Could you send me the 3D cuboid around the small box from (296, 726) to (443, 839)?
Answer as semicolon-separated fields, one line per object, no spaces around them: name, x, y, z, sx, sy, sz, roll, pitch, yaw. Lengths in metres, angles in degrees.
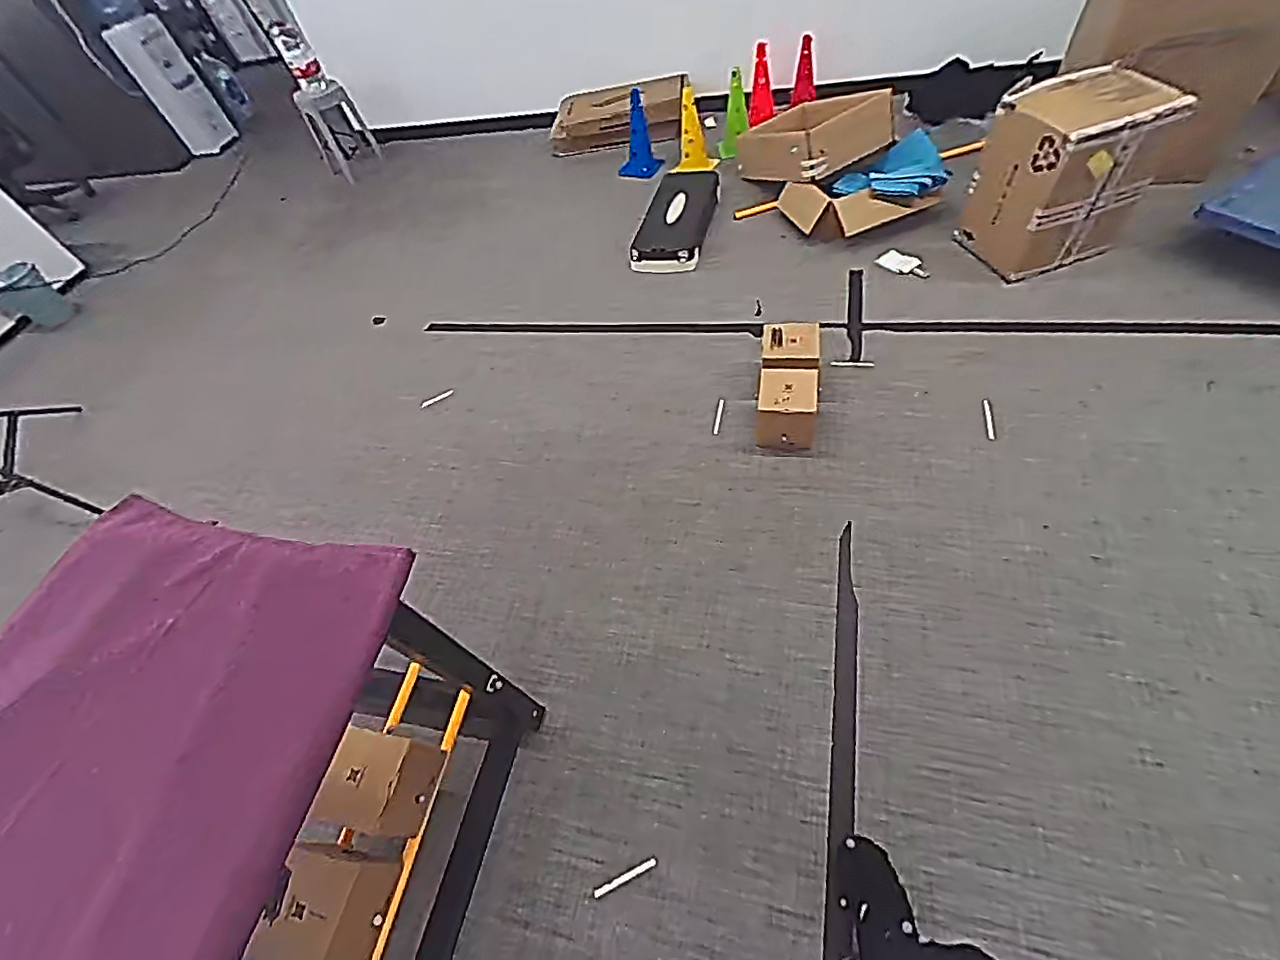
small box;-0.539;0.620;1.105;0.179;0.176;0.168;5;56;13

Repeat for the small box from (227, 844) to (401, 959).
small box;-0.584;0.789;0.995;0.179;0.176;0.168;5;57;12
